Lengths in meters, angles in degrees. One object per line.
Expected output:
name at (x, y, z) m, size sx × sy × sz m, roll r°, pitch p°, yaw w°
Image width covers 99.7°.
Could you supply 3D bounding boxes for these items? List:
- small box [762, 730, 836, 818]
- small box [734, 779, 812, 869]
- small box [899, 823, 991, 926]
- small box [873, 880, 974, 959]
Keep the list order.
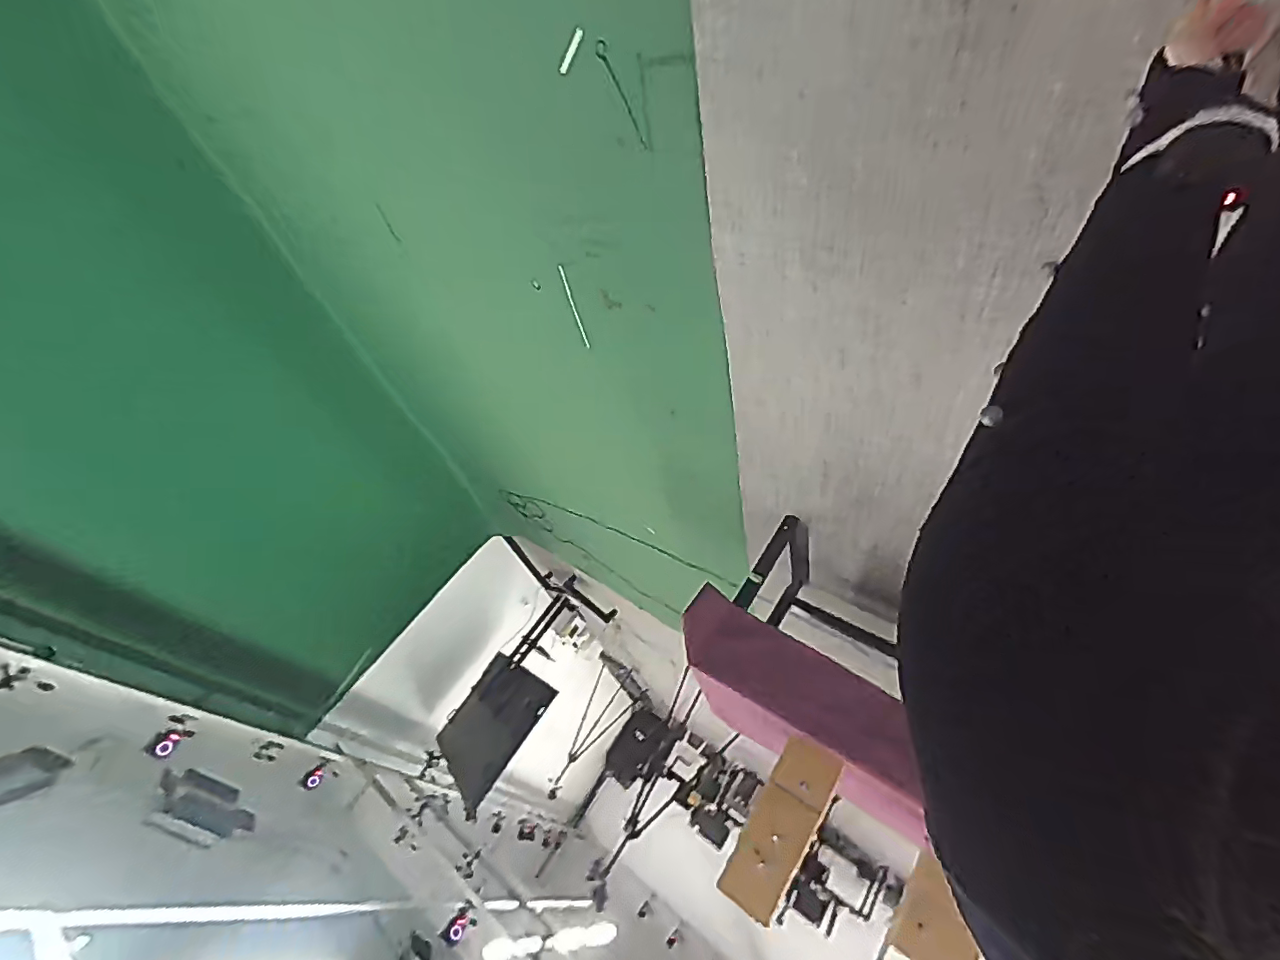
small box at (0.511, 0.939, 1.734) m, size 0.179 × 0.176 × 0.168 m, roll 25°, pitch 153°, yaw 31°
small box at (0.413, 1.054, 1.671) m, size 0.179 × 0.176 × 0.168 m, roll 23°, pitch 151°, yaw 31°
small box at (0.853, 1.098, 1.515) m, size 0.168 × 0.176 × 0.179 m, roll 25°, pitch 153°, yaw 29°
small box at (0.758, 1.214, 1.451) m, size 0.179 × 0.176 × 0.168 m, roll 25°, pitch 153°, yaw 28°
